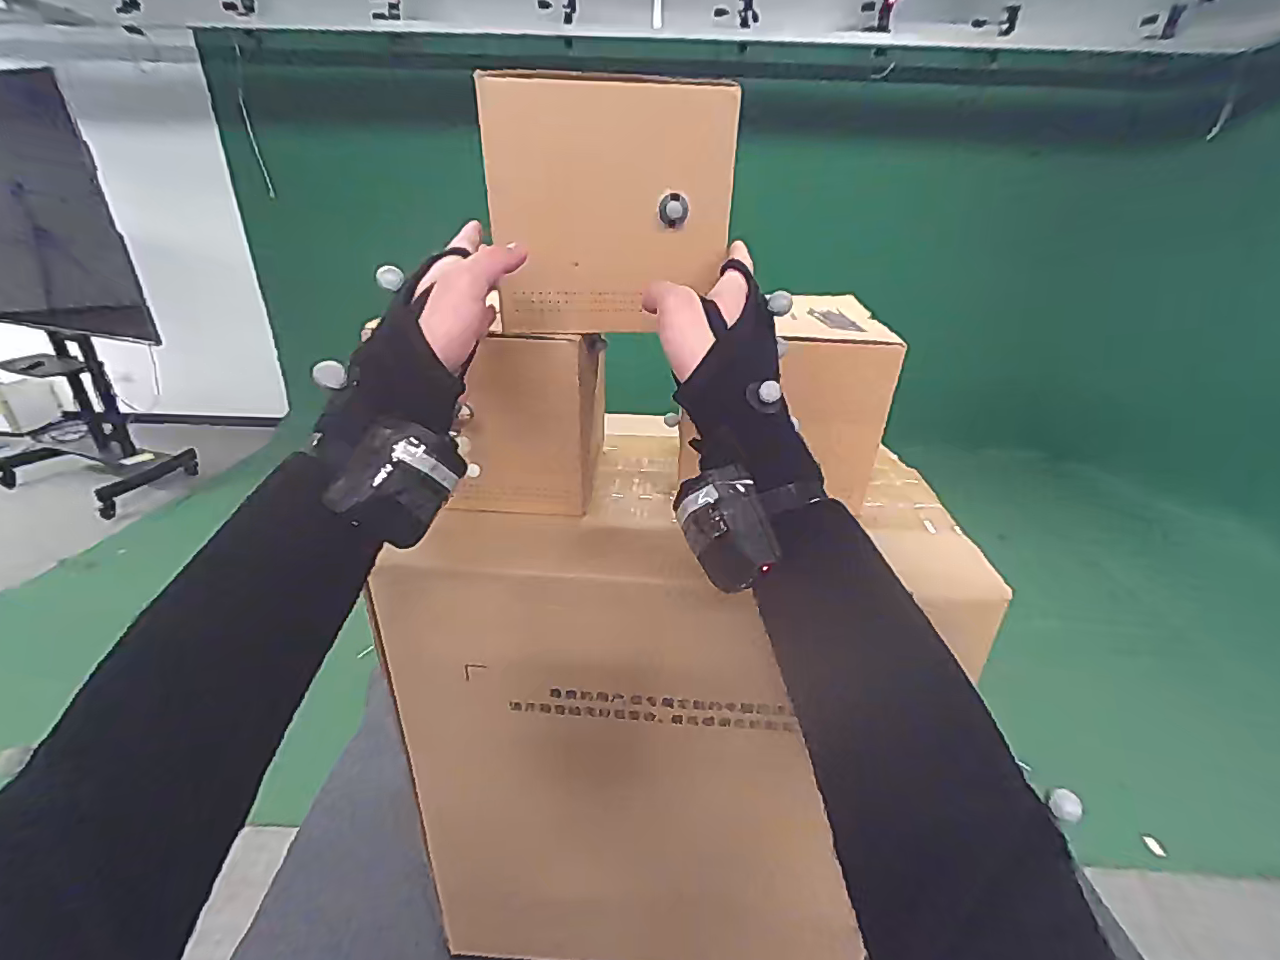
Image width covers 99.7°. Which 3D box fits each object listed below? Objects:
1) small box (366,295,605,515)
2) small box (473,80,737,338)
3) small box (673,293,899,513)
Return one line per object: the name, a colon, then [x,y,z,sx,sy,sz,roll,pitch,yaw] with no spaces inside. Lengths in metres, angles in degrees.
small box: [-0.131,-0.078,0.535,0.179,0.176,0.168,4,30,2]
small box: [-0.030,-0.222,0.459,0.179,0.176,0.168,-3,29,-6]
small box: [0.126,-0.080,0.542,0.179,0.176,0.168,3,31,4]
